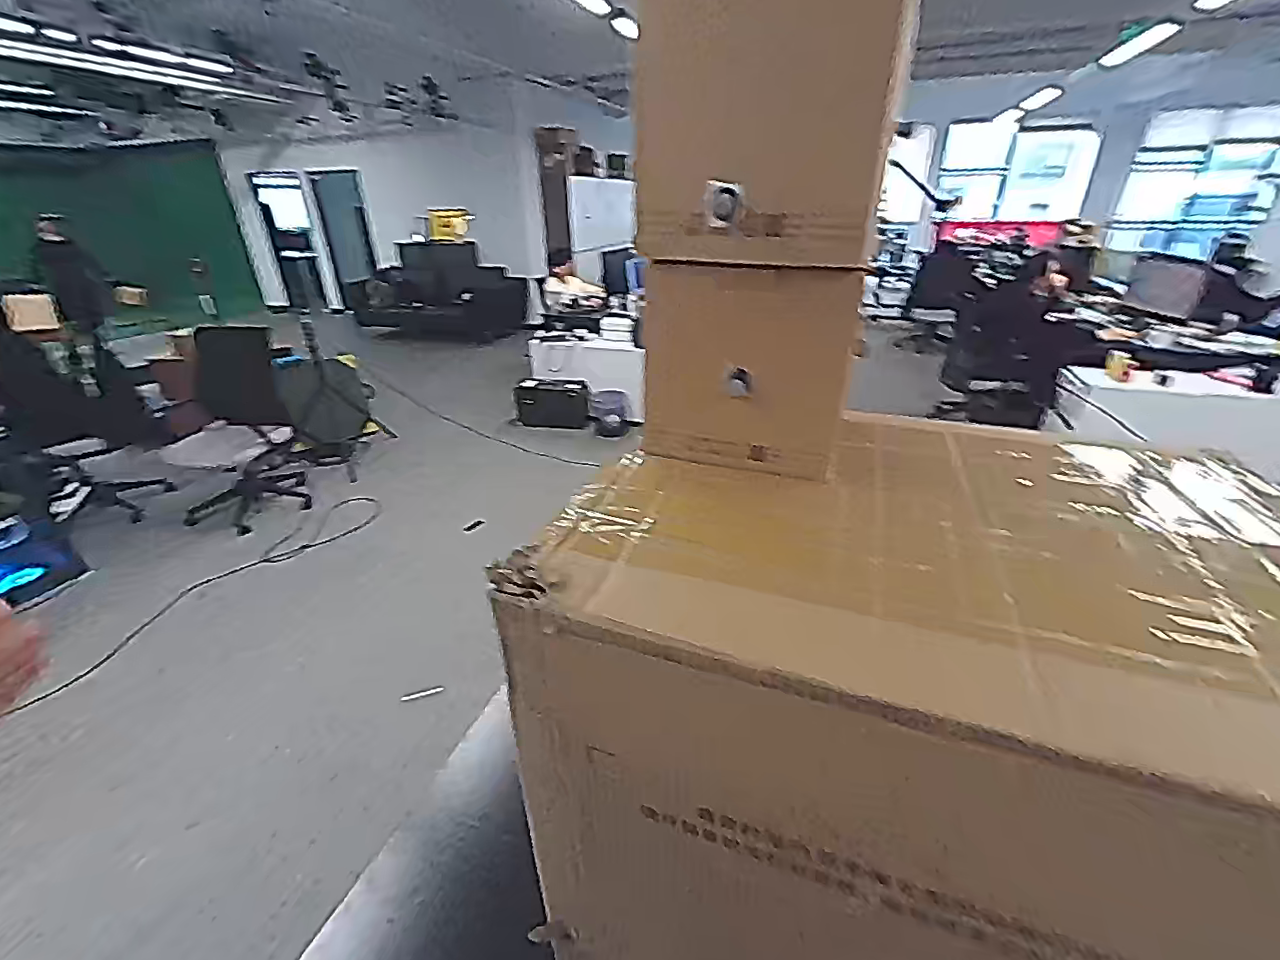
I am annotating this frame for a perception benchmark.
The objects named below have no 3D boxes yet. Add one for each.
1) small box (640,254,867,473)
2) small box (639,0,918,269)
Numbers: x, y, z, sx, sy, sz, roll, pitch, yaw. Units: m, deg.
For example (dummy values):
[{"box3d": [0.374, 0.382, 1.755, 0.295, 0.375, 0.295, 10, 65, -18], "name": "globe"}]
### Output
[{"box3d": [0.108, -0.120, 0.495, 0.168, 0.176, 0.179, 10, 29, 18], "name": "small box"}, {"box3d": [0.103, -0.259, 0.407, 0.168, 0.176, 0.179, 9, 29, 20], "name": "small box"}]
